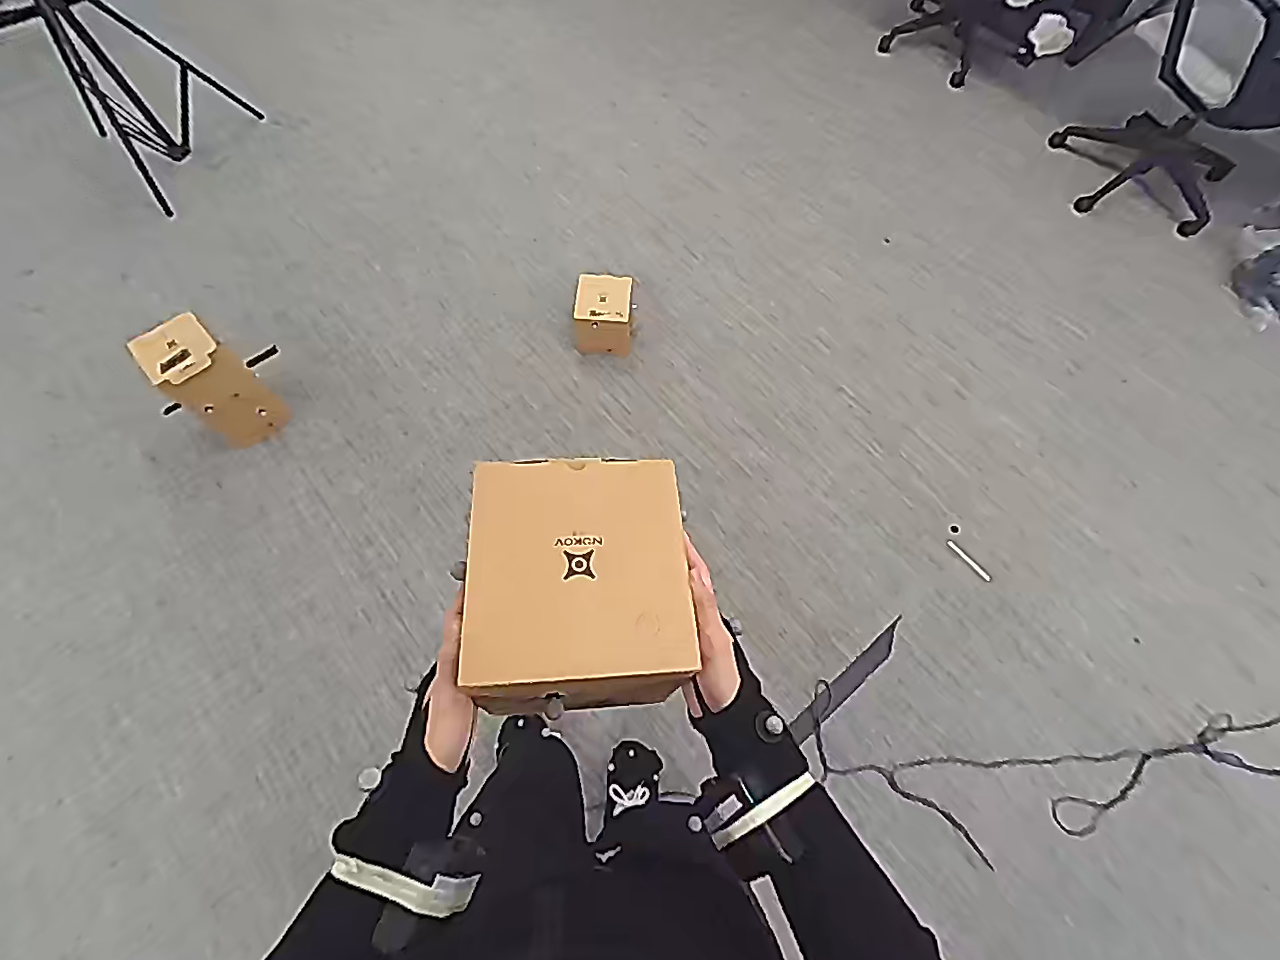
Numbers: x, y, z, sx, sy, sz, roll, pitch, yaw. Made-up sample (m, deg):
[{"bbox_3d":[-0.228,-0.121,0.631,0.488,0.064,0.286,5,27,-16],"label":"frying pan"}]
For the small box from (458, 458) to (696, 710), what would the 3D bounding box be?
[{"bbox_3d":[-0.054,0.098,0.476,0.168,0.176,0.179,-2,59,-8],"label":"small box"}]

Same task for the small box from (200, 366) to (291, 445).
[{"bbox_3d":[-1.166,-0.226,1.571,0.168,0.176,0.179,-41,72,-18],"label":"small box"}]

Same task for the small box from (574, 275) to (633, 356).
[{"bbox_3d":[-0.111,-0.518,1.710,0.168,0.176,0.179,4,66,1],"label":"small box"}]

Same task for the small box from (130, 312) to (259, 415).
[{"bbox_3d":[-1.160,-0.296,1.422,0.168,0.176,0.179,-40,72,-17],"label":"small box"}]
